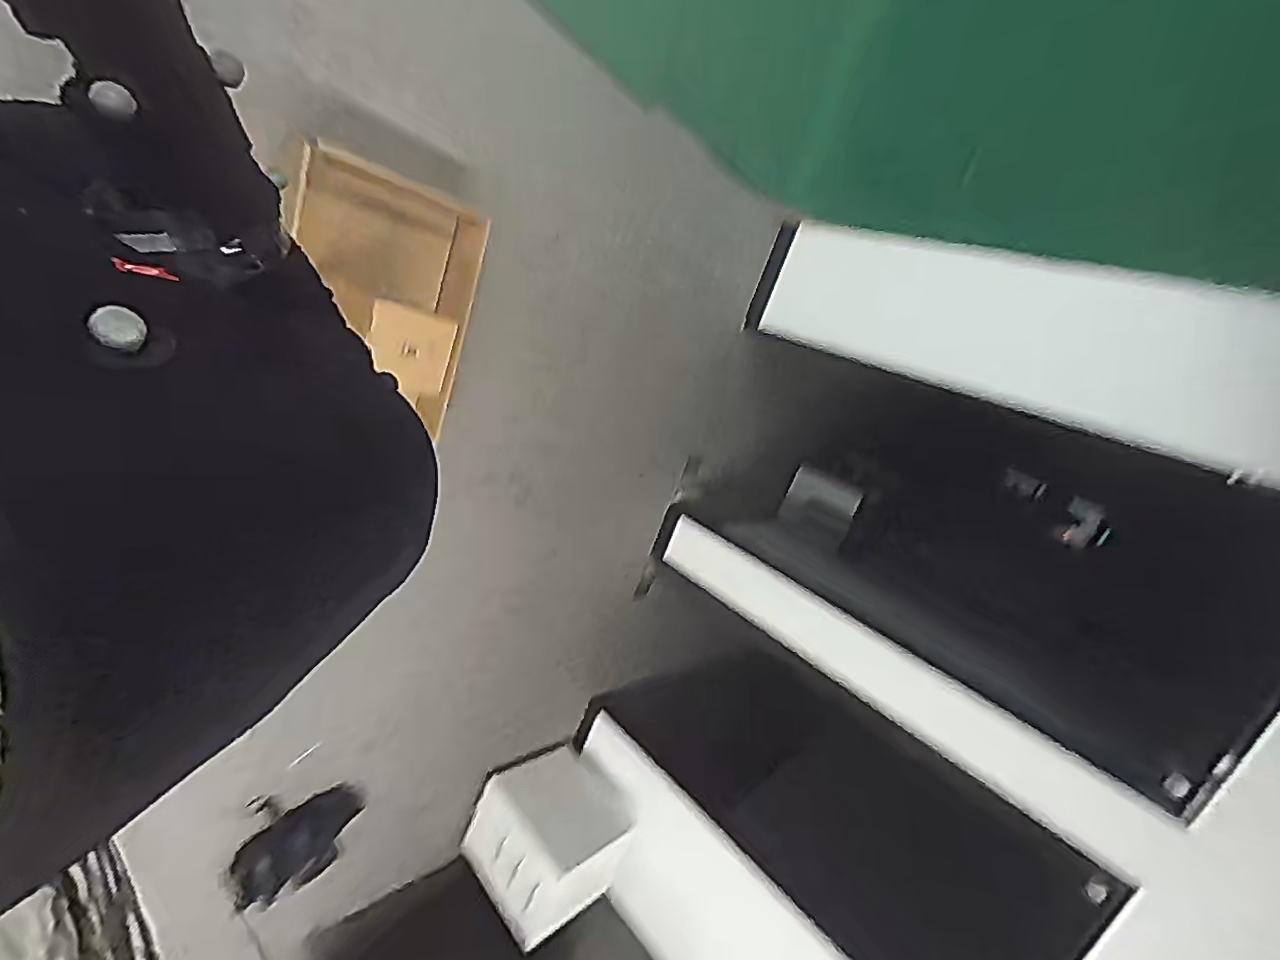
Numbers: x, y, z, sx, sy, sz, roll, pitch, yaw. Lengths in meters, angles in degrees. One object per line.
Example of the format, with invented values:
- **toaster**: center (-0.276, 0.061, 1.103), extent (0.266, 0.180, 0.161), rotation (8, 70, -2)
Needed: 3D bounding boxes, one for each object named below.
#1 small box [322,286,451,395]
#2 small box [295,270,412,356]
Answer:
- **small box**: center (-0.536, -0.293, 1.133), extent (0.179, 0.176, 0.168), rotation (3, 113, -53)
- **small box**: center (-0.651, -0.361, 1.224), extent (0.179, 0.176, 0.168), rotation (5, 111, -52)
